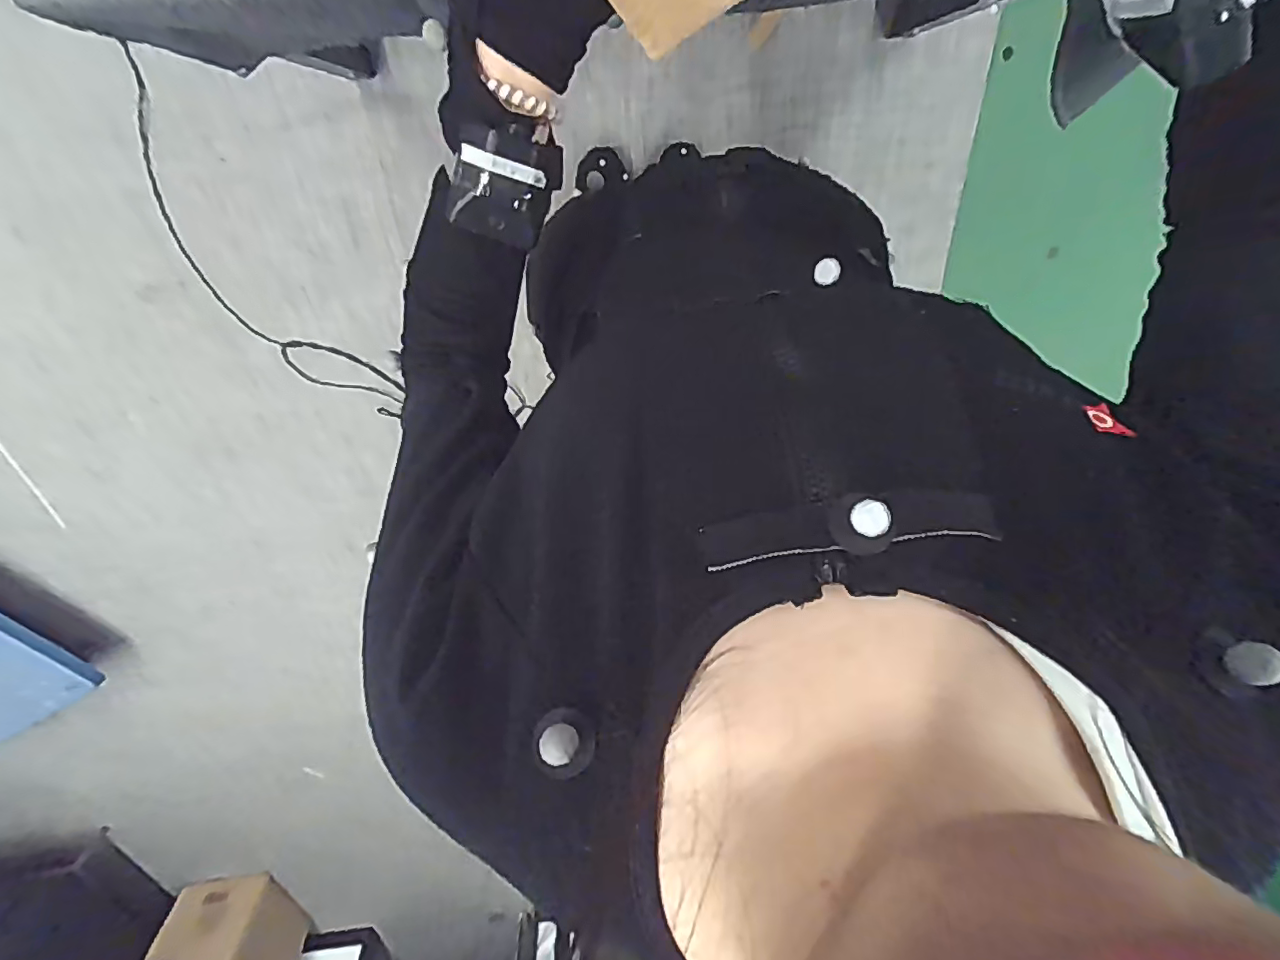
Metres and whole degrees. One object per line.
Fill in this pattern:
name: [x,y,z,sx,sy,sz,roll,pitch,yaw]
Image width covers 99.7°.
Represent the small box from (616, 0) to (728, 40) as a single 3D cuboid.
small box: [0.031,-0.323,0.203,0.168,0.176,0.179,37,106,-28]
